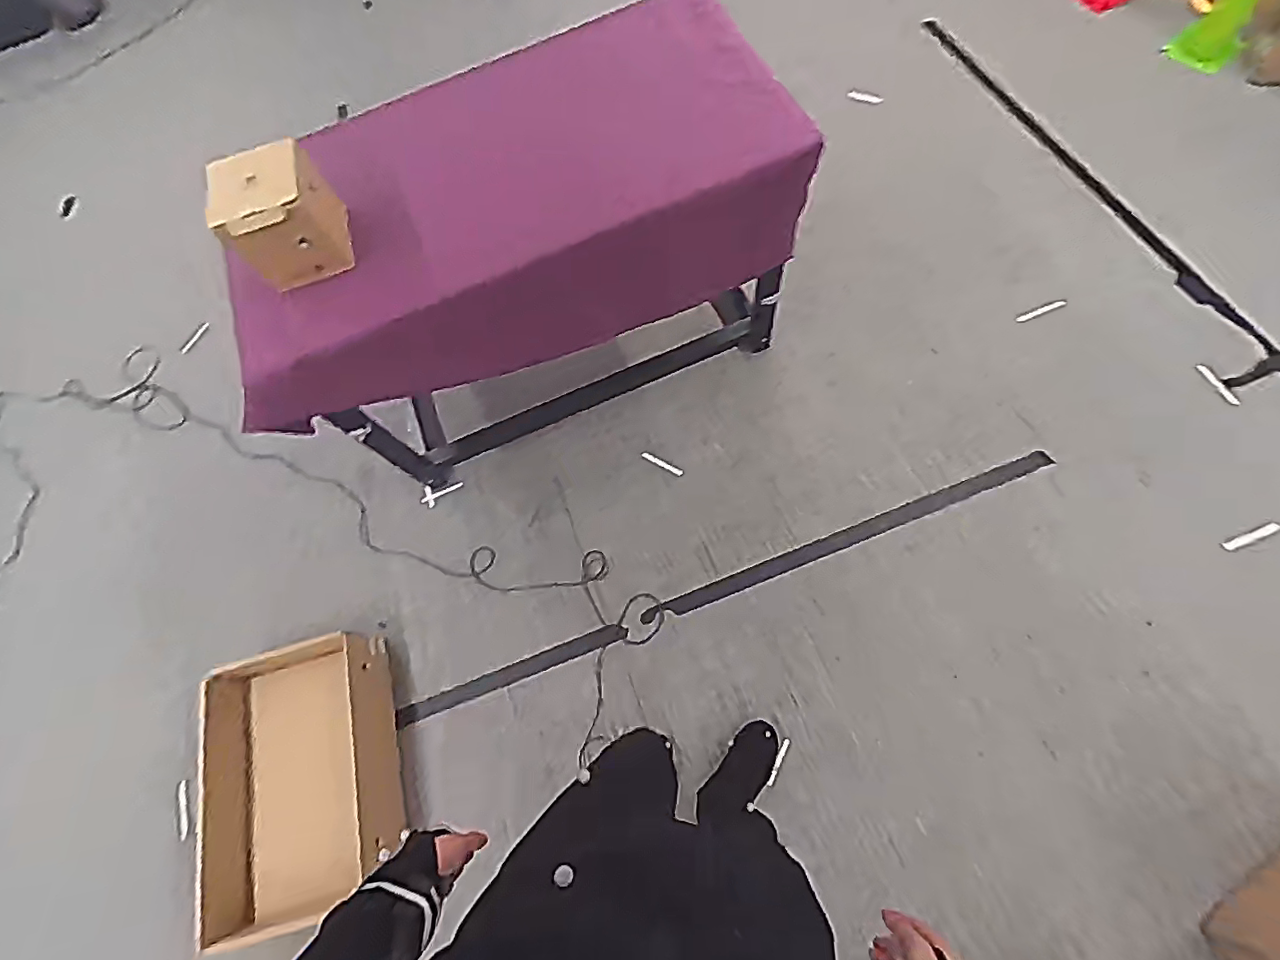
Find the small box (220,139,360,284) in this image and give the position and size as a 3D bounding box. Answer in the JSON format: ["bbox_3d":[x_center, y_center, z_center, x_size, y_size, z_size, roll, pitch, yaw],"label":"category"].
[{"bbox_3d":[-0.671,-0.508,1.051,0.168,0.176,0.179,-18,68,0],"label":"small box"}]
